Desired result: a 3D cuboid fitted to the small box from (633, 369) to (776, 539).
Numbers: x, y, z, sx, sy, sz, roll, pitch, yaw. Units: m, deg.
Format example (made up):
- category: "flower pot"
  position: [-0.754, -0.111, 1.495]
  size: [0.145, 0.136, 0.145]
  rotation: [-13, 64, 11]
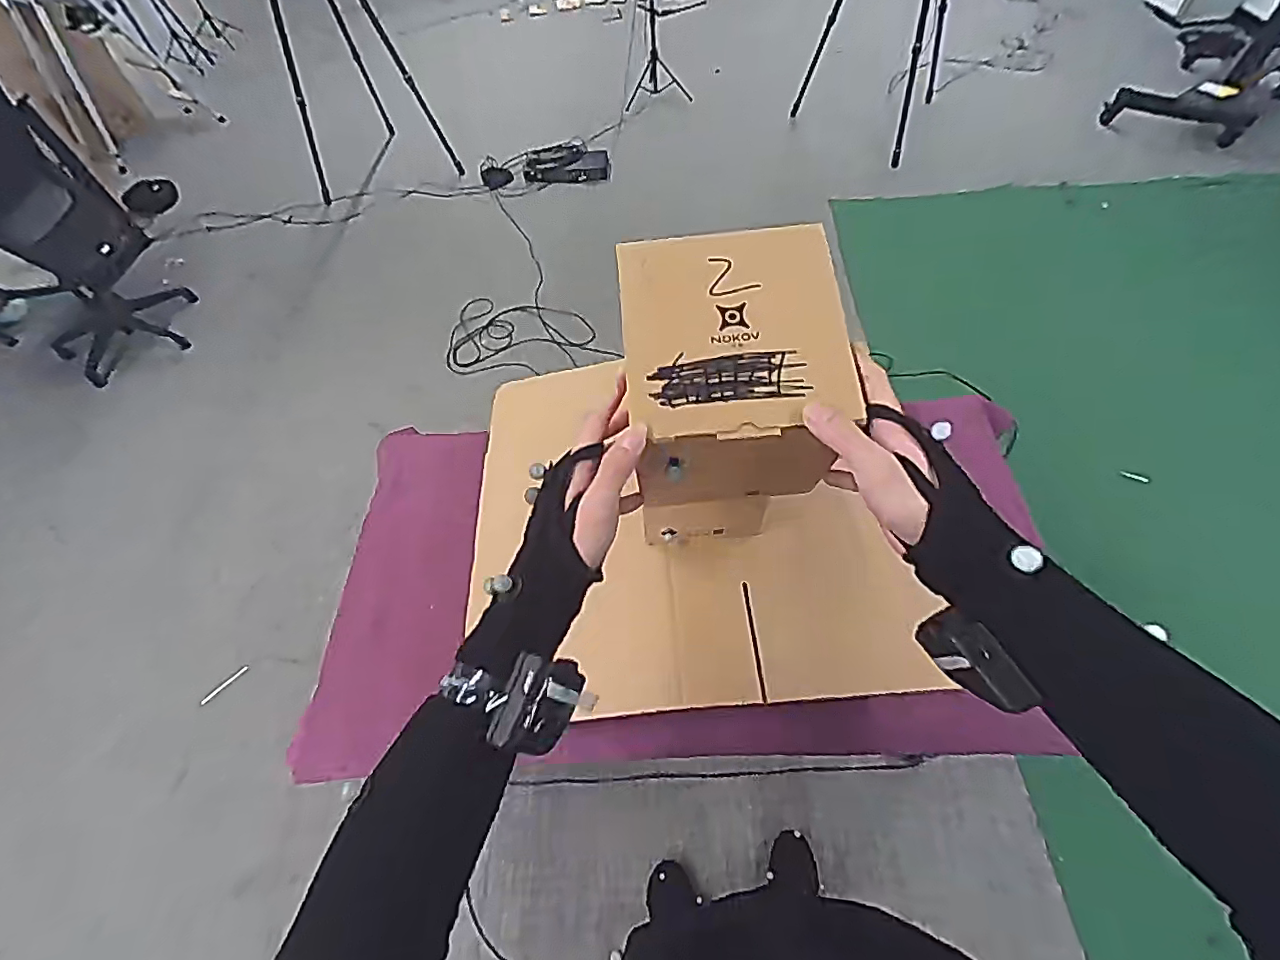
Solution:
- category: "small box"
  position: [0.081, -0.027, 0.748]
  size: [0.168, 0.176, 0.179]
  rotation: [-4, 55, 0]
